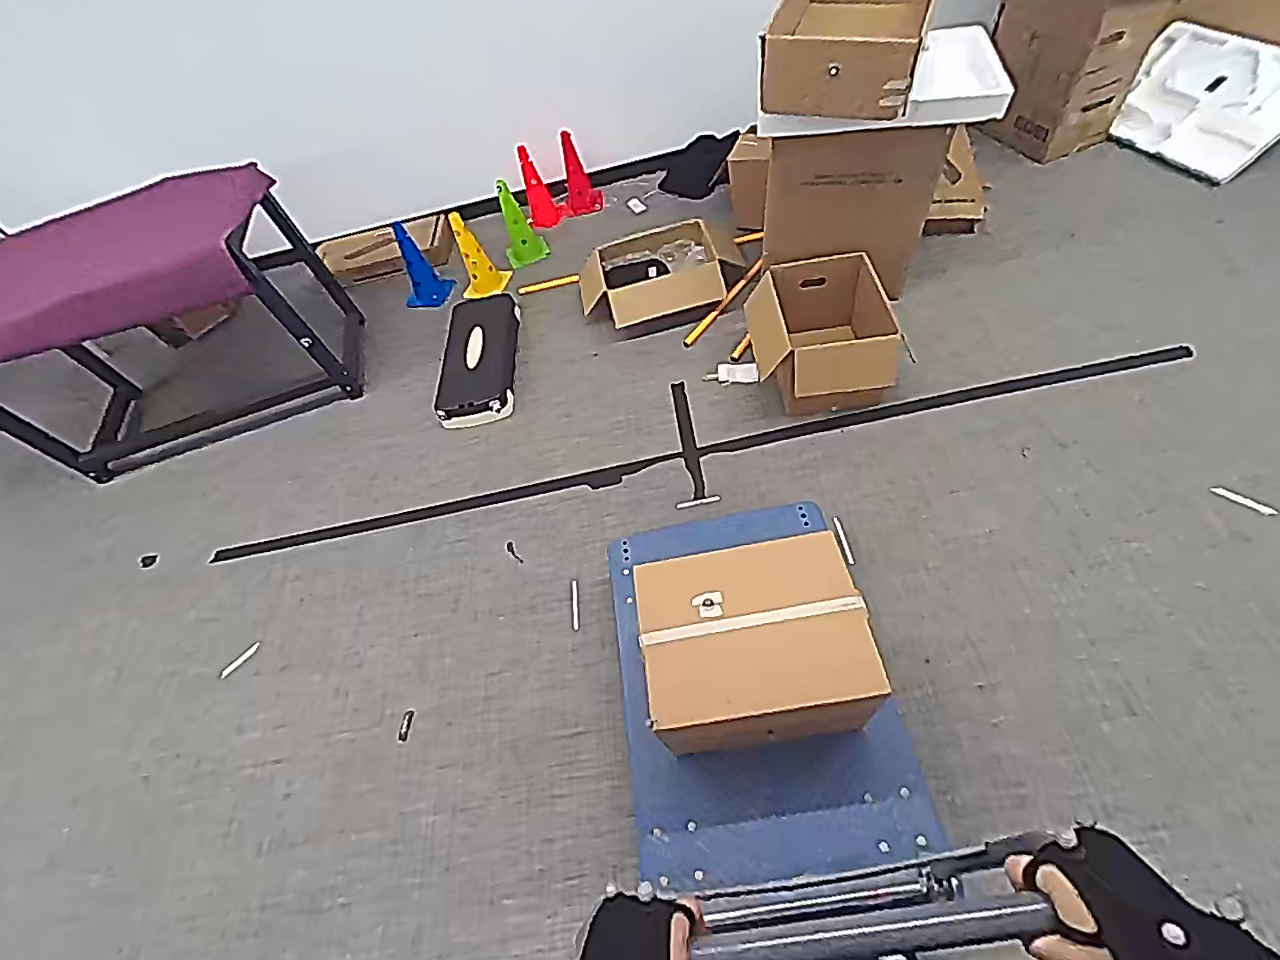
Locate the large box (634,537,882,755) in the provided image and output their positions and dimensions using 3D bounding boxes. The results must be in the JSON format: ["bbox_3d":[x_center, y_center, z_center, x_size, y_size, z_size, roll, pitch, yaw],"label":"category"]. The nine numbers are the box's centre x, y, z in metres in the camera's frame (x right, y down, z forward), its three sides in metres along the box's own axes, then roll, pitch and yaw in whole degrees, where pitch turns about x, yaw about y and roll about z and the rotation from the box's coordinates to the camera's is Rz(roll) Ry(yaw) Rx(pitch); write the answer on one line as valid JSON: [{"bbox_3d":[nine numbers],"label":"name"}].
[{"bbox_3d":[0.227,0.359,1.131,0.408,0.320,0.320,-12,54,5],"label":"large box"}]
